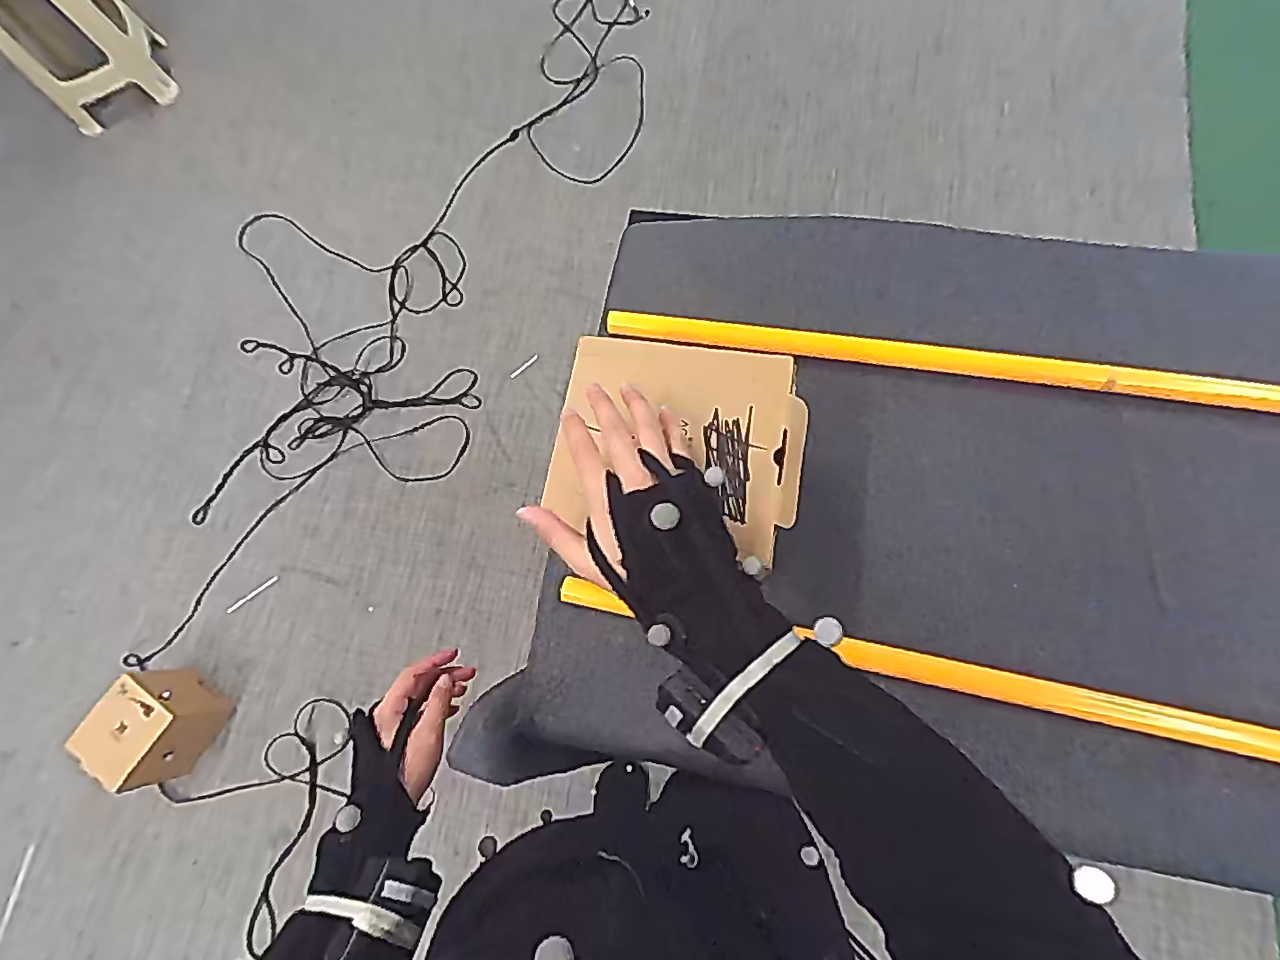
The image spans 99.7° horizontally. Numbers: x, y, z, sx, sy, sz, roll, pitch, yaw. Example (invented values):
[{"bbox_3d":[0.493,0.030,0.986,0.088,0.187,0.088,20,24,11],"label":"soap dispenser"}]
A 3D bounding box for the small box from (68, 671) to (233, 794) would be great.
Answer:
[{"bbox_3d":[-1.062,0.543,1.189,0.168,0.176,0.179,30,78,13],"label":"small box"}]

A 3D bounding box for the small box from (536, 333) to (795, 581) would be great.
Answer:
[{"bbox_3d":[0.029,-0.008,0.488,0.179,0.176,0.168,9,74,9],"label":"small box"}]
